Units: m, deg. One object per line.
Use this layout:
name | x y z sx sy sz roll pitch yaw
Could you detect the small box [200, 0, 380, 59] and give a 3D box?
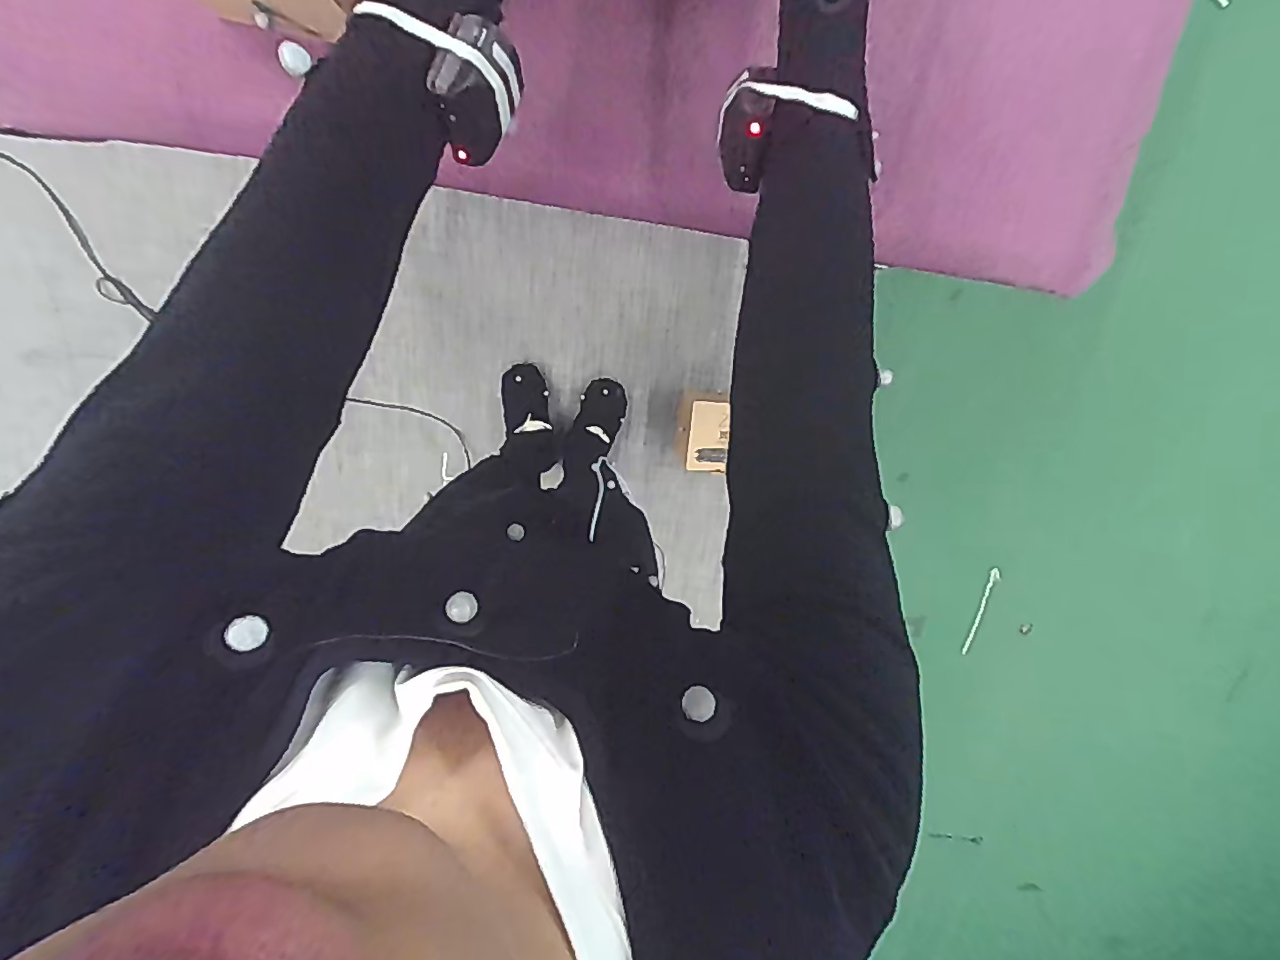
small box | -0.322 -0.497 0.441 0.168 0.176 0.179 9 108 -8
